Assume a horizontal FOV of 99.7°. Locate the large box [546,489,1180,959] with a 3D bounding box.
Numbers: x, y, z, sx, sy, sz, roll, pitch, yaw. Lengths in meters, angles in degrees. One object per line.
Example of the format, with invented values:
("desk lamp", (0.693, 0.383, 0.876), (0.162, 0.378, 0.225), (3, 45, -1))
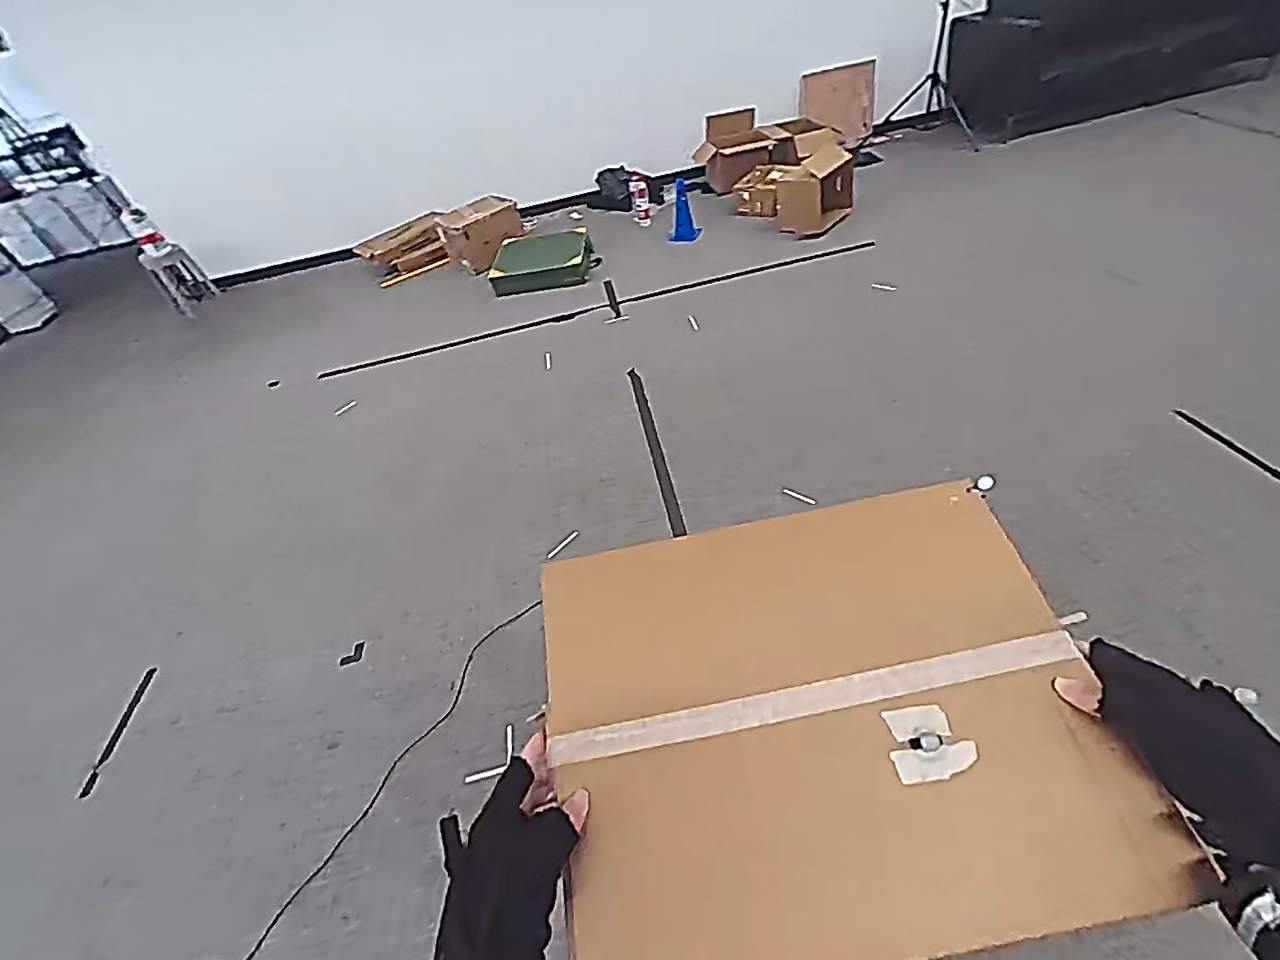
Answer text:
("large box", (0.147, 0.256, 0.552), (0.408, 0.320, 0.320), (-12, 57, 0))
